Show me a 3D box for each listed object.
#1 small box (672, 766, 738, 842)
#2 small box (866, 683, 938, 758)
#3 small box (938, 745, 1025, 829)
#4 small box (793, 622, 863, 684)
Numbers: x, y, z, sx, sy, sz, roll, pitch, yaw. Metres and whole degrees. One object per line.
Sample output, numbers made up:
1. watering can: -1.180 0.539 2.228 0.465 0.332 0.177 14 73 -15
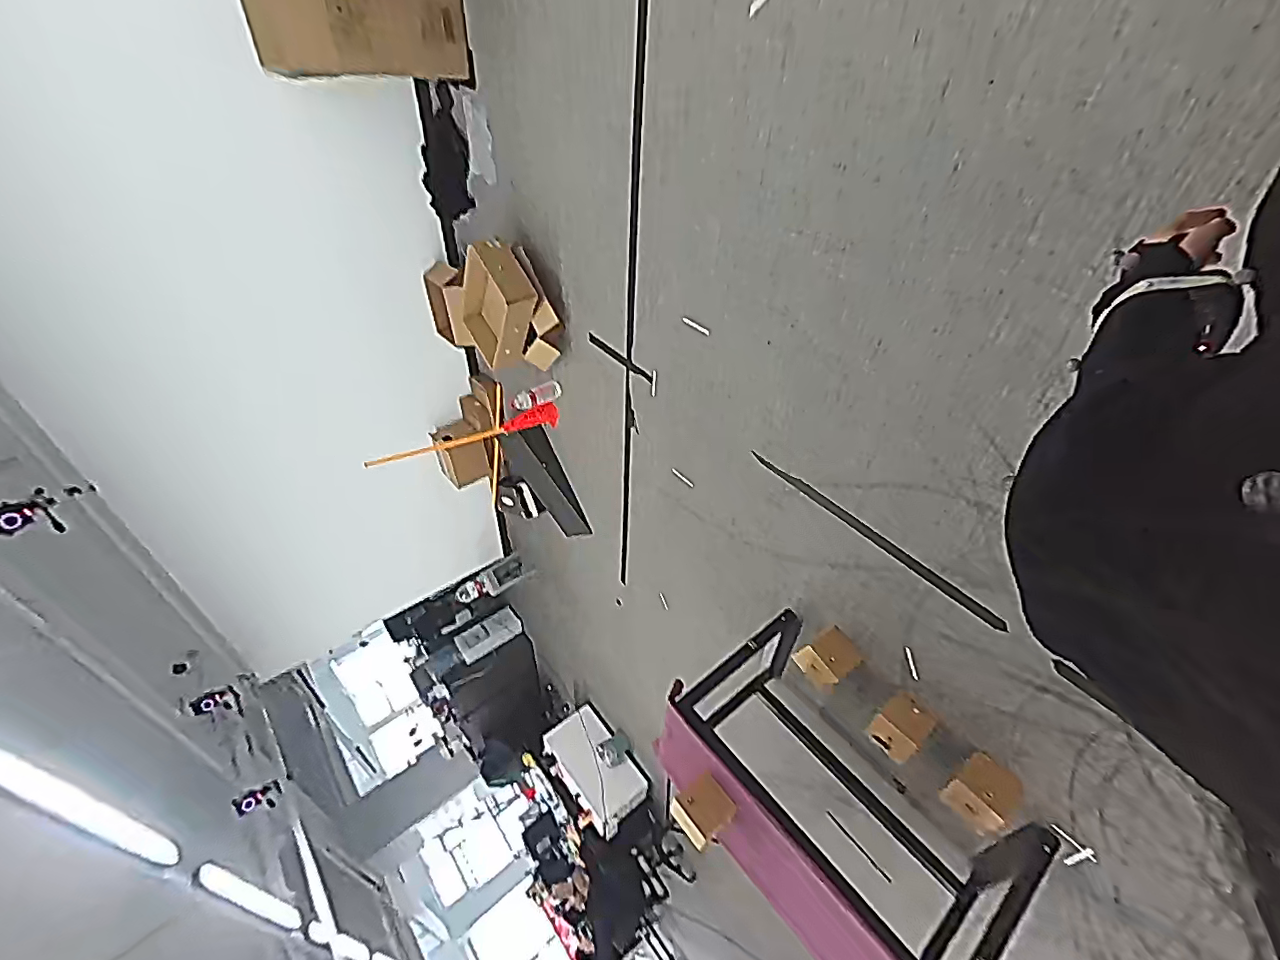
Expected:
1. small box: 0.246 1.228 2.067 0.179 0.176 0.168 42 146 31
2. small box: 1.016 0.929 2.093 0.168 0.176 0.179 40 143 34
3. small box: 1.212 1.083 1.917 0.179 0.176 0.168 42 144 32
4. small box: 0.792 0.721 2.277 0.179 0.176 0.168 50 148 18
